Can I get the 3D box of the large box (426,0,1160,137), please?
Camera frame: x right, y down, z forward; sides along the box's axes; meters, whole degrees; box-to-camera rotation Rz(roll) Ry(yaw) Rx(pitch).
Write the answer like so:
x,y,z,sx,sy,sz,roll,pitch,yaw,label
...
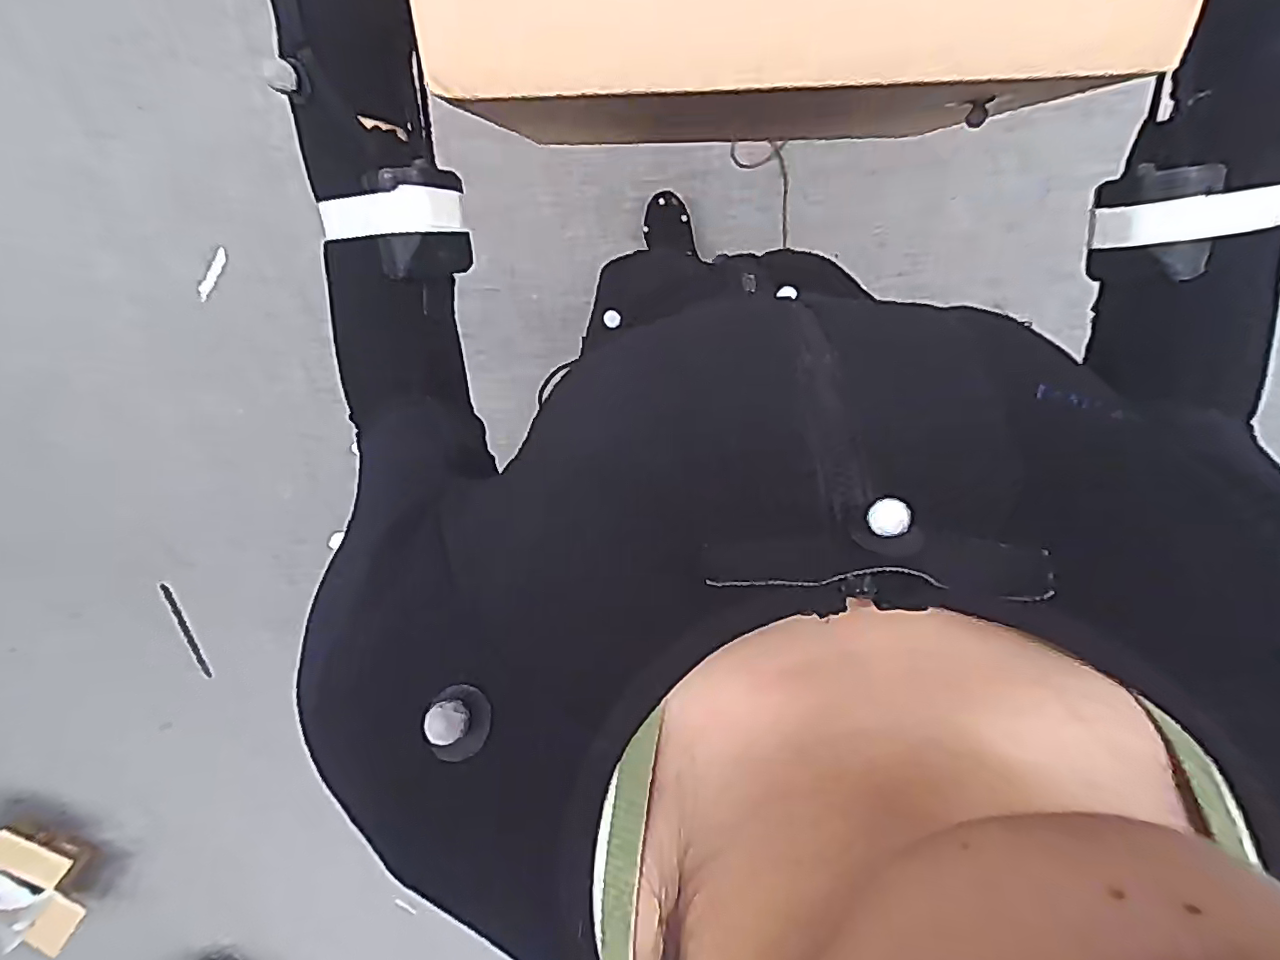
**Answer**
x,y,z,sx,sy,sz,roll,pitch,yaw,label
0.082,-0.432,0.369,0.408,0.320,0.320,0,117,2,large box
